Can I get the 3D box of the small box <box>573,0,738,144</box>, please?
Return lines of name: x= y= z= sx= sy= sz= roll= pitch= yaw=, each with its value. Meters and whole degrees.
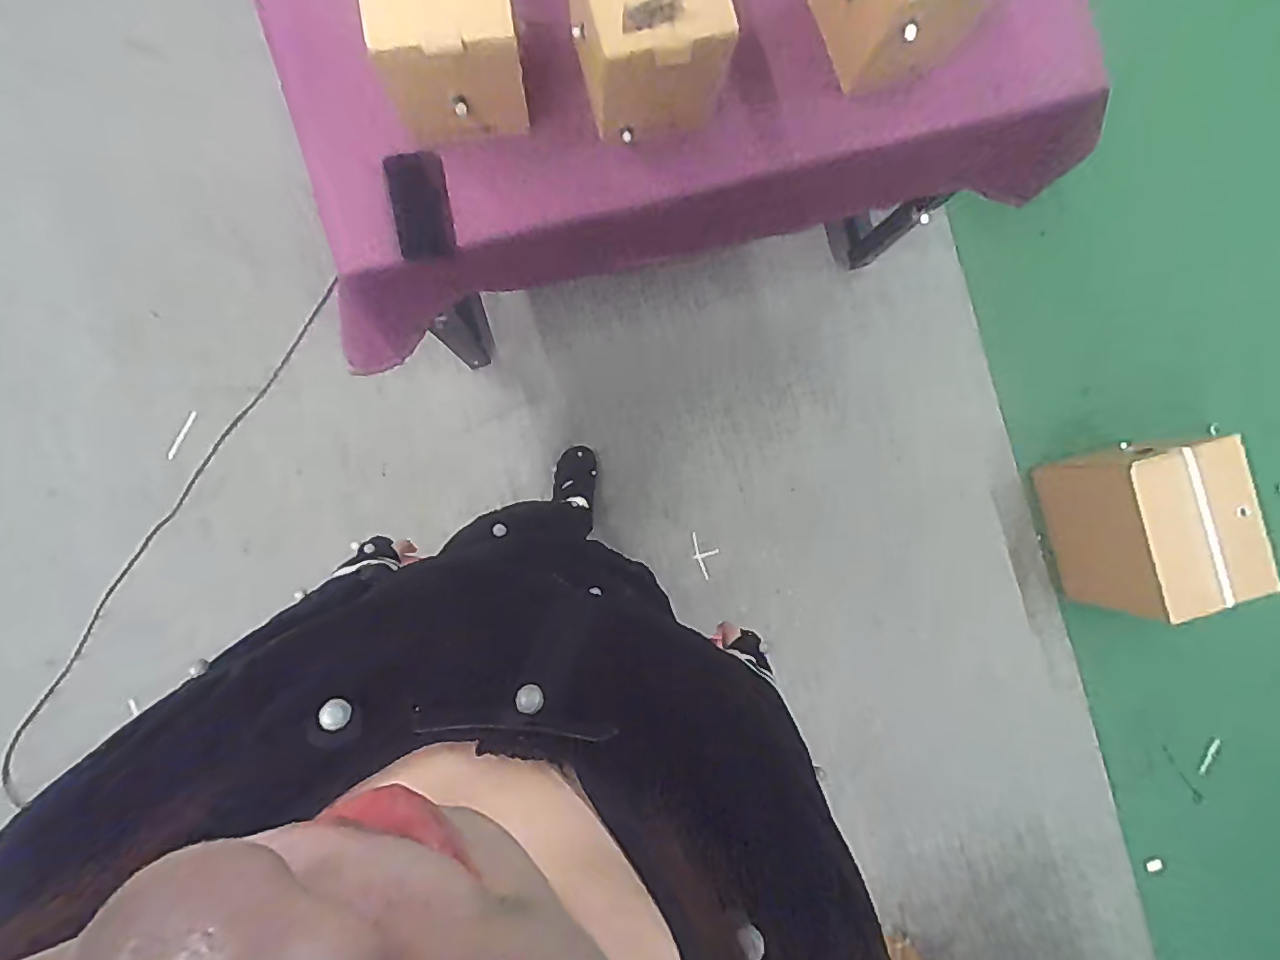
small box: x=0.011 y=-0.576 z=0.708 sx=0.168 sy=0.176 sz=0.179 roll=-15 pitch=90 yaw=-5

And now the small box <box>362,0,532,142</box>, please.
small box: x=-0.237 y=-0.560 z=0.688 sx=0.168 sy=0.176 sz=0.179 roll=-8 pitch=90 yaw=-5
